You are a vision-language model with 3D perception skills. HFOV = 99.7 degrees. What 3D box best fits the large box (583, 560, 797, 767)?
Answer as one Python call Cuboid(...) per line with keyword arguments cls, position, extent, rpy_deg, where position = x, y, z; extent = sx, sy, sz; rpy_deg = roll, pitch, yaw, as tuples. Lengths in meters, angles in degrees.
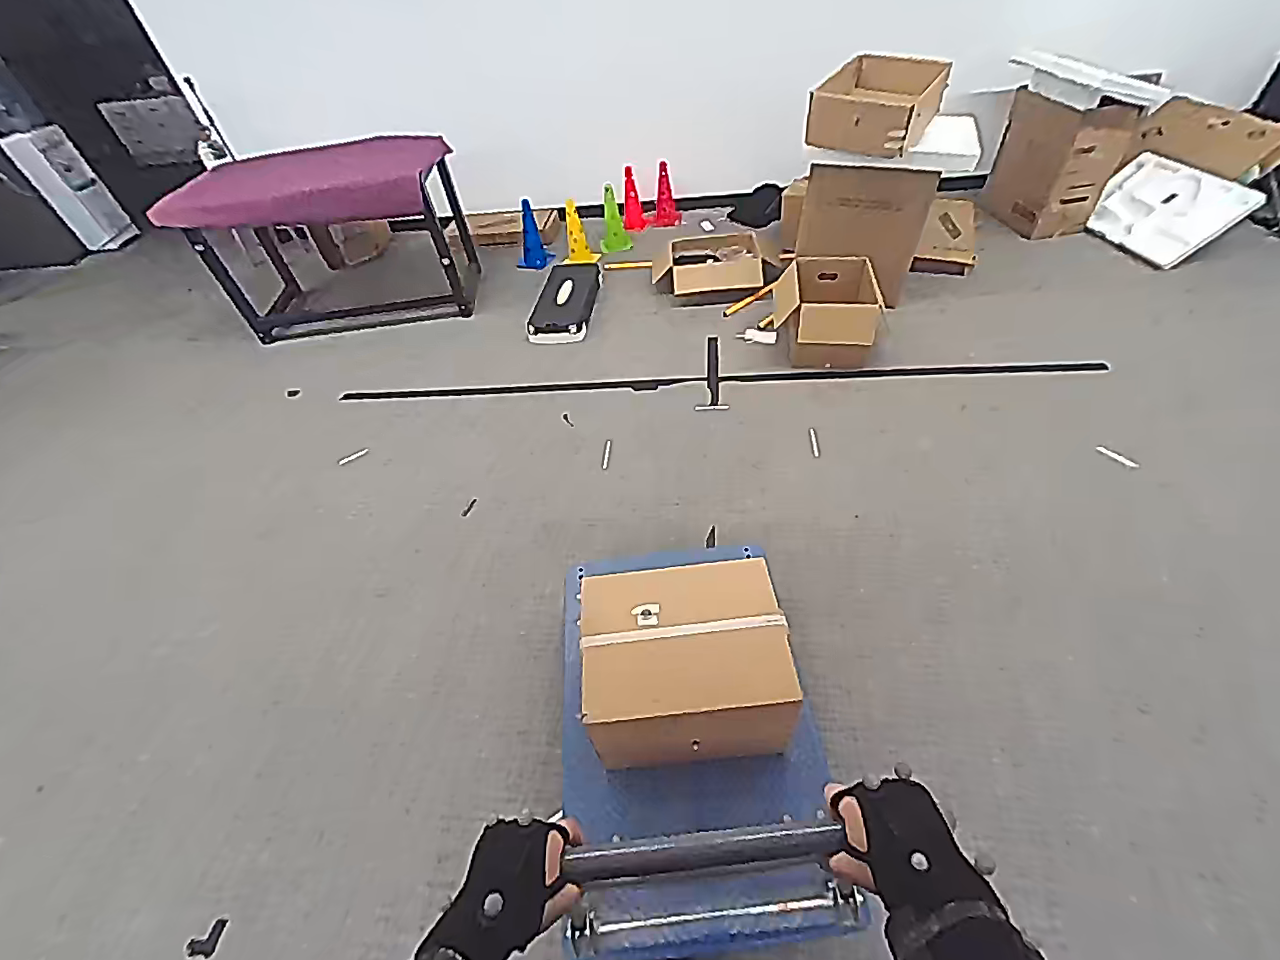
Cuboid(cls="large box", position=(0.101, 0.415, 1.210), extent=(0.408, 0.320, 0.320), rpy_deg=(-8, 46, 2))
